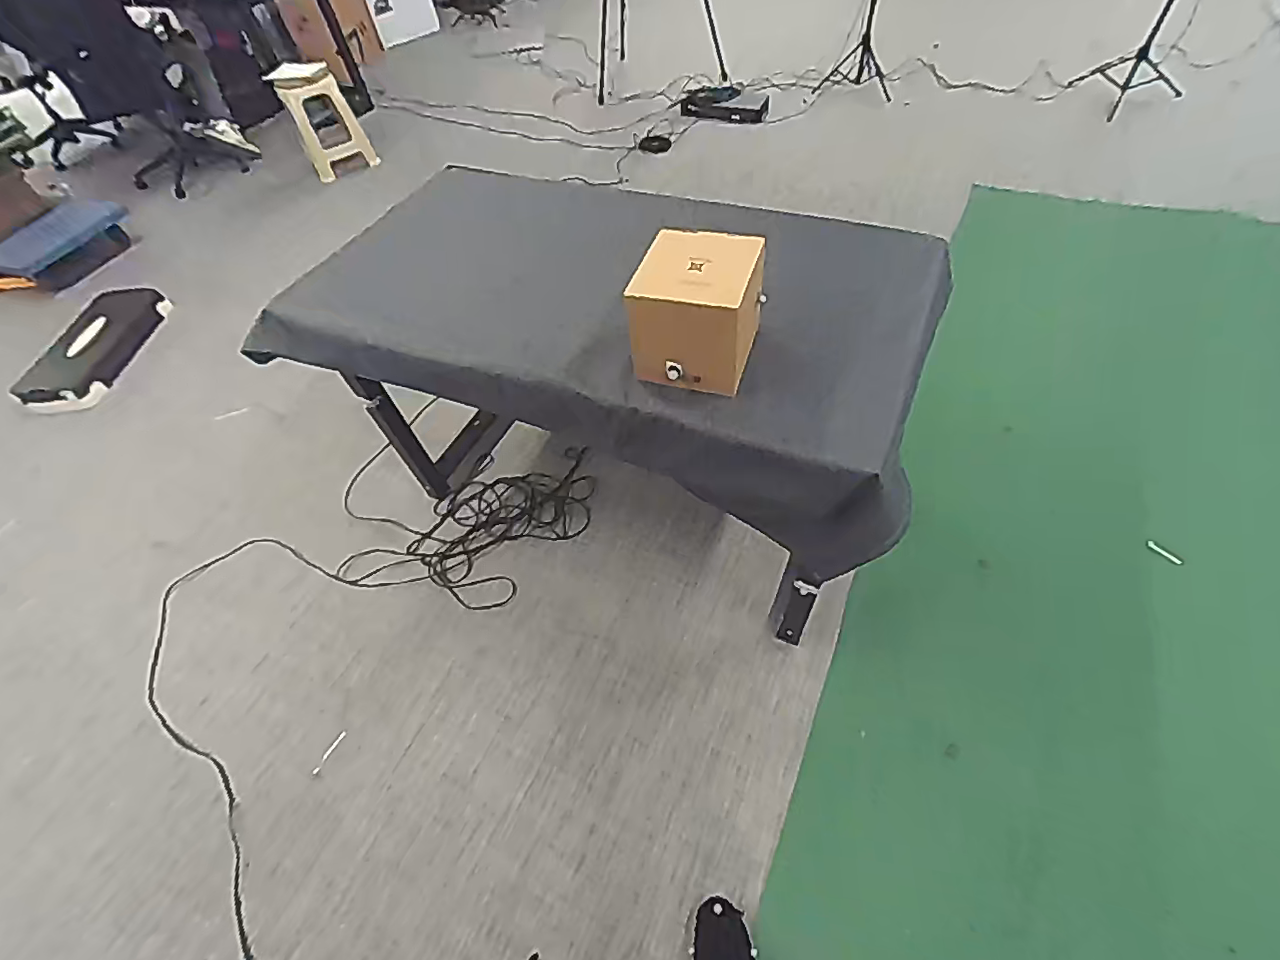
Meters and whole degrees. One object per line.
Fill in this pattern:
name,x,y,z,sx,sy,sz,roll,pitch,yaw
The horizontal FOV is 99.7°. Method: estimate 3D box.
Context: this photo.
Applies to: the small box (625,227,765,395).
small box,0.088,-0.261,0.836,0.168,0.176,0.179,12,57,16
